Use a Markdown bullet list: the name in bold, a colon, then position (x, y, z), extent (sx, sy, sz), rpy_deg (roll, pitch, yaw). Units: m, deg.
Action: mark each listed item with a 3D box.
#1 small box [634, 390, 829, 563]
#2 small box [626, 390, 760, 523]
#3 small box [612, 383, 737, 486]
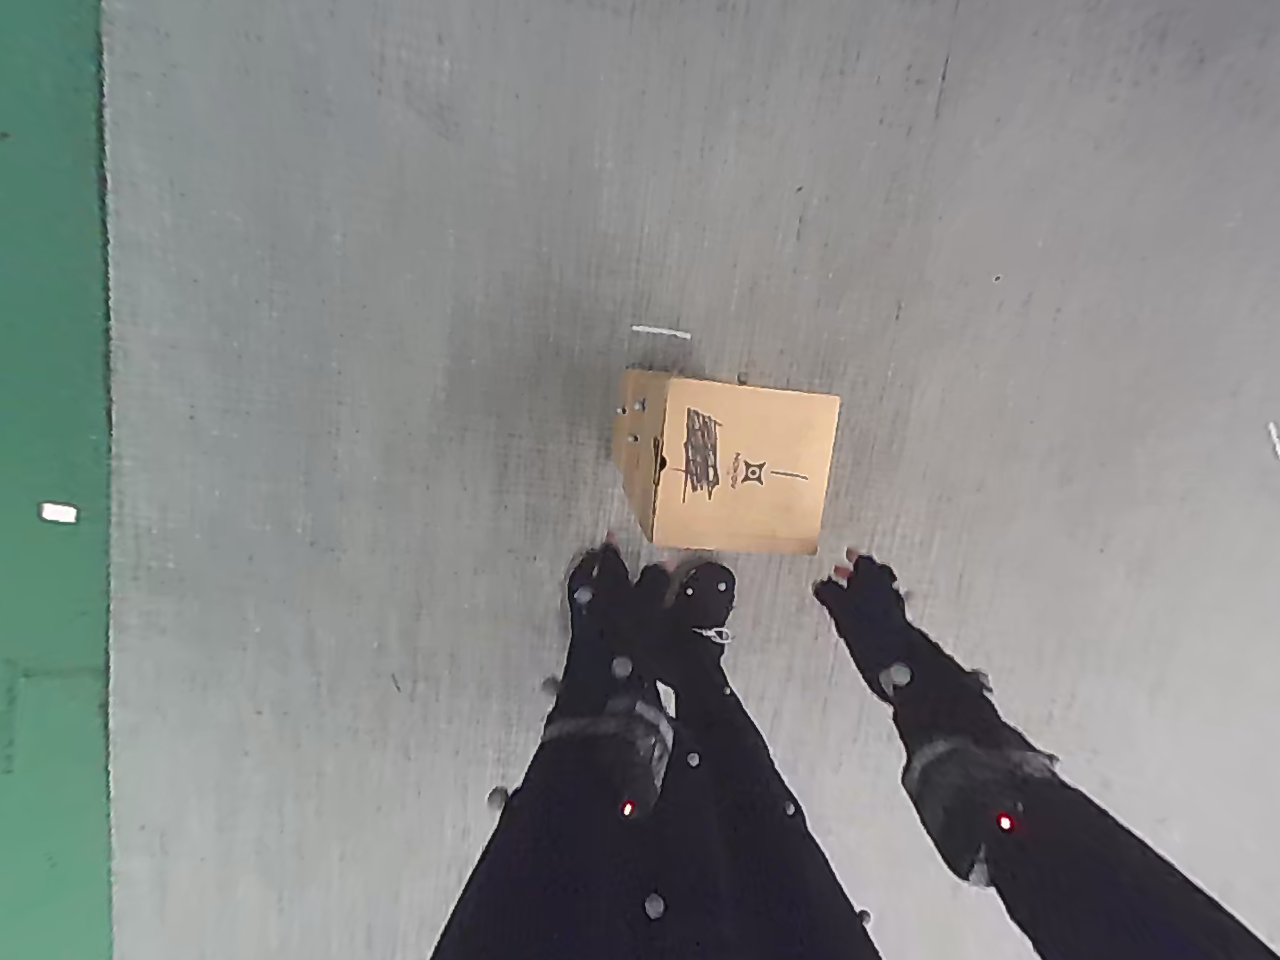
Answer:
- **small box**: position (0.091, -0.011, 0.631), extent (0.179, 0.176, 0.168), rpy_deg (5, 98, -8)
- **small box**: position (0.073, -0.033, 0.776), extent (0.168, 0.176, 0.179), rpy_deg (5, 99, -7)
- **small box**: position (0.053, -0.074, 0.934), extent (0.179, 0.176, 0.168), rpy_deg (5, 97, -9)
